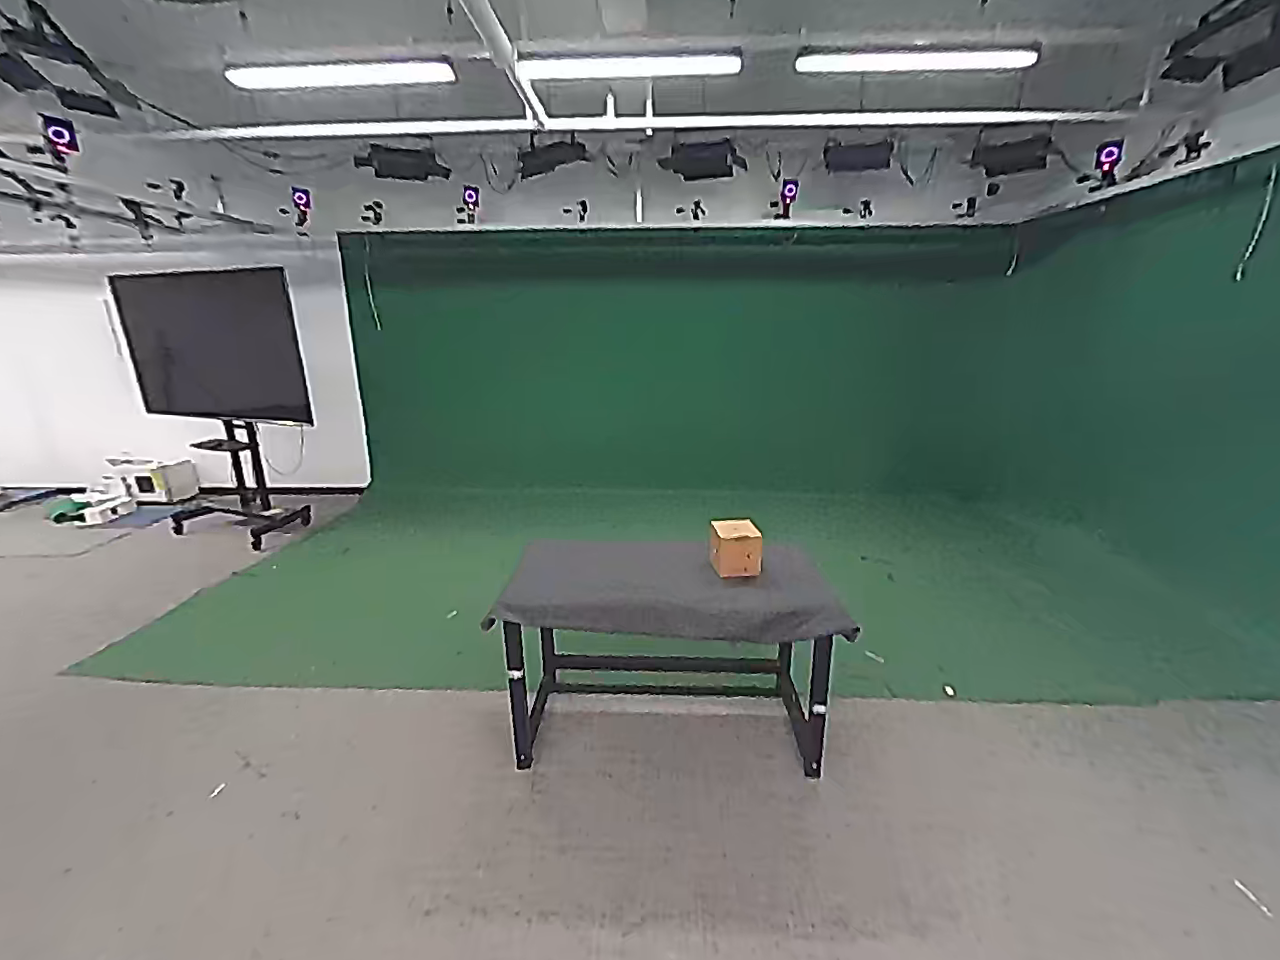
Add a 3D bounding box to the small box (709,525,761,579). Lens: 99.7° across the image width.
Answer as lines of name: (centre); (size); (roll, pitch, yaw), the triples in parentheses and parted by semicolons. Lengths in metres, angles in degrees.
small box: (0.377, 0.290, 2.160); (0.168, 0.176, 0.179); (0, 14, -6)
